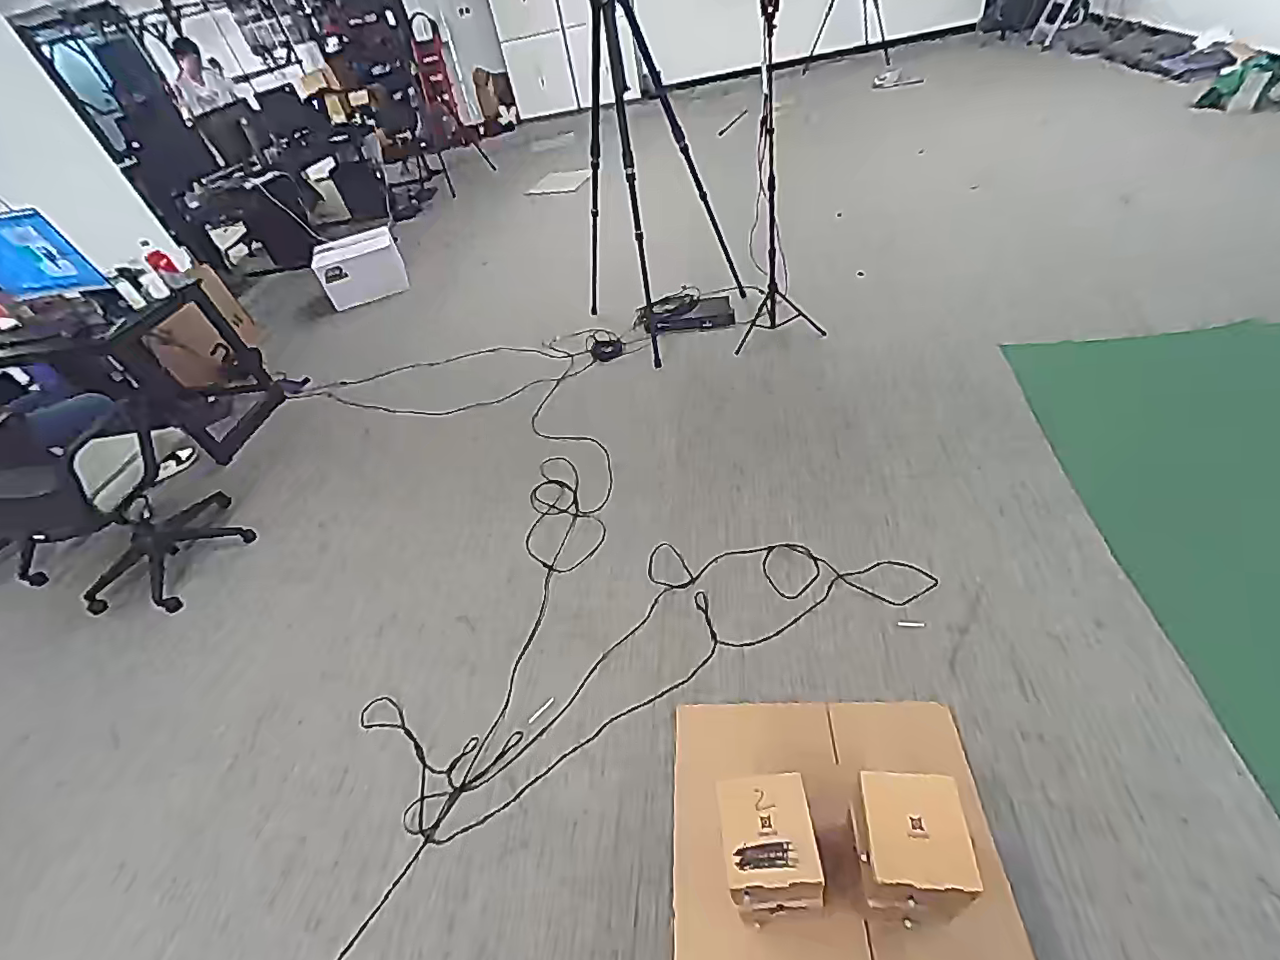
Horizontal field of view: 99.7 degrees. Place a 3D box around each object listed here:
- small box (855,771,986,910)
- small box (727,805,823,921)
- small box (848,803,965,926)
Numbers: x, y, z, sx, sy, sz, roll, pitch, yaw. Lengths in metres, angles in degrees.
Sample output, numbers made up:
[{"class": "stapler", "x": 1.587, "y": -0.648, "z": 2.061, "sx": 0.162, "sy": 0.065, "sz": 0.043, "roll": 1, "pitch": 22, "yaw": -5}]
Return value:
[{"class": "small box", "x": 0.499, "y": 0.661, "z": 0.995, "sx": 0.168, "sy": 0.176, "sz": 0.179, "roll": -3, "pitch": 45, "yaw": 13}, {"class": "small box", "x": 0.281, "y": 0.809, "z": 1.136, "sx": 0.168, "sy": 0.176, "sz": 0.179, "roll": -8, "pitch": 43, "yaw": 7}, {"class": "small box", "x": 0.528, "y": 0.781, "z": 1.101, "sx": 0.168, "sy": 0.176, "sz": 0.179, "roll": -6, "pitch": 44, "yaw": 11}]
